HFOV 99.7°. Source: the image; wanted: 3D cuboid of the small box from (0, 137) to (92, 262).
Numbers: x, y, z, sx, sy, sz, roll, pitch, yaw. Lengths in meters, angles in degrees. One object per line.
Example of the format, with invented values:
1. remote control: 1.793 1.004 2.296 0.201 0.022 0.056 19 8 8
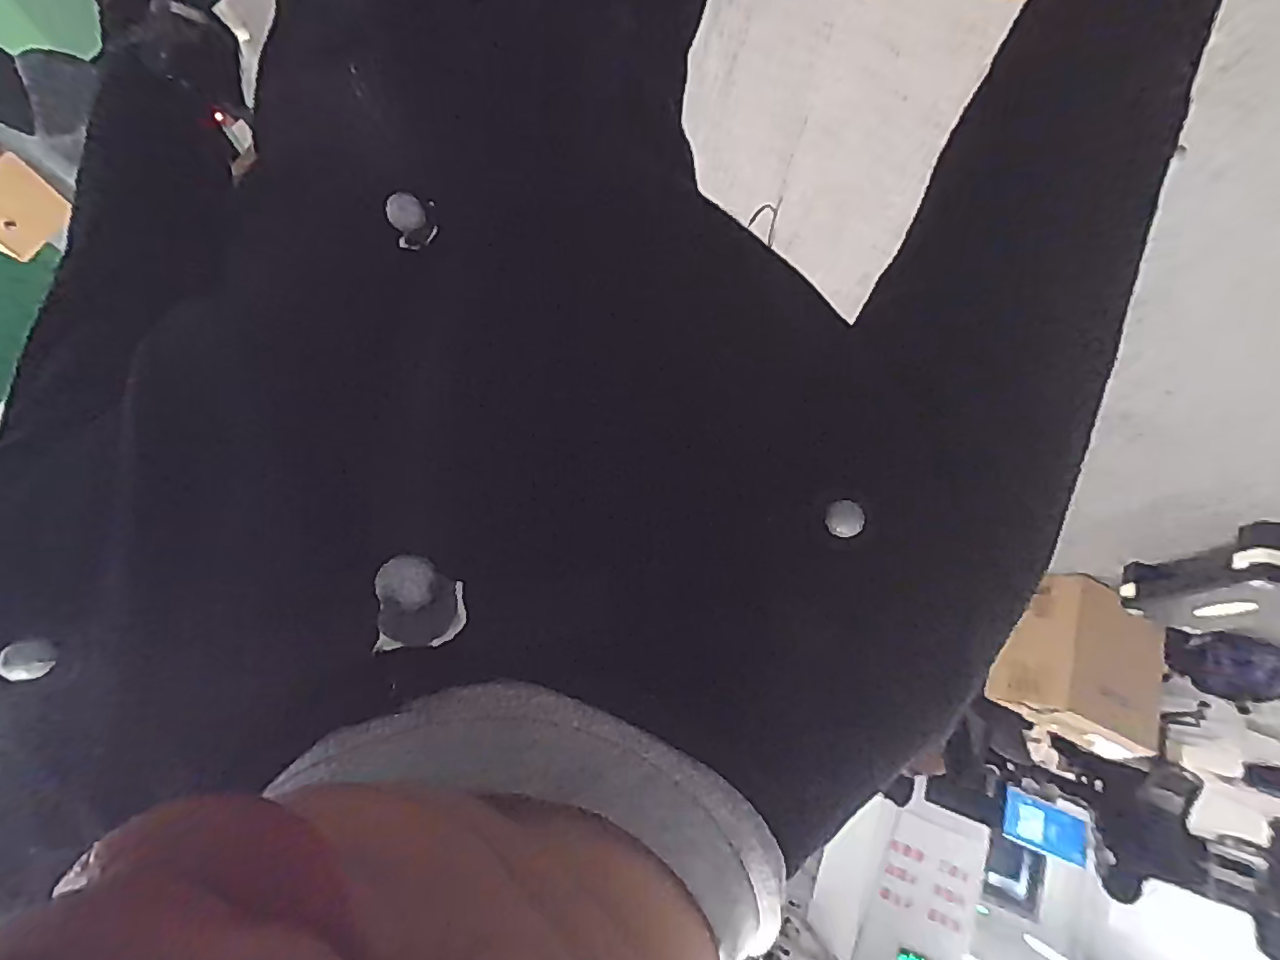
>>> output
1. small box: -1.382 -0.625 1.180 0.168 0.176 0.179 25 162 -3
